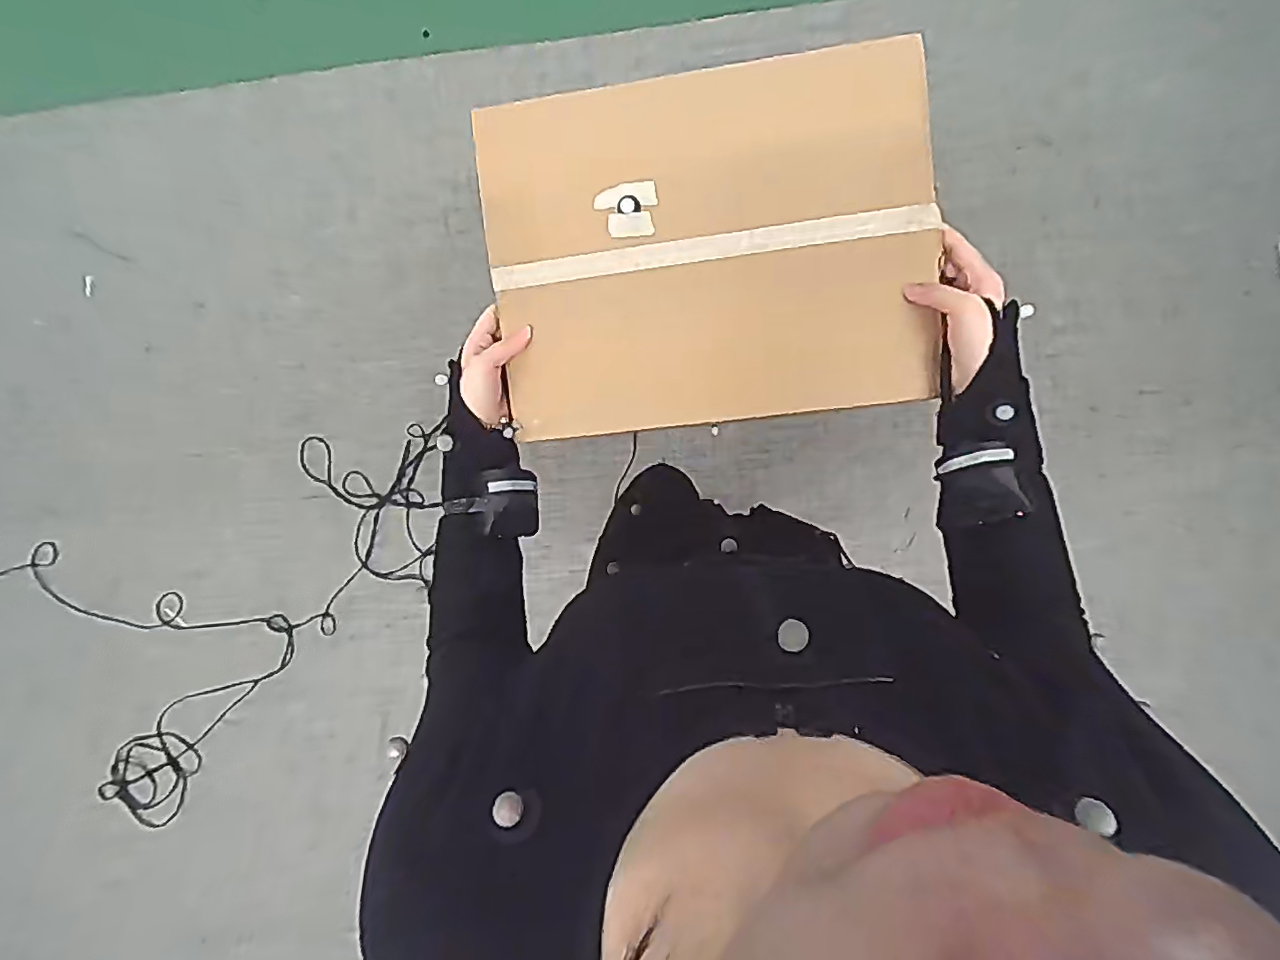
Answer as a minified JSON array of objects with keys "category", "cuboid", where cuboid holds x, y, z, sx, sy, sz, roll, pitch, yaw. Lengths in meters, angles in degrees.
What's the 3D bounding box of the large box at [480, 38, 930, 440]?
[{"category":"large box","cuboid":[0.075,-0.232,0.659,0.408,0.320,0.320,-6,95,7]}]
